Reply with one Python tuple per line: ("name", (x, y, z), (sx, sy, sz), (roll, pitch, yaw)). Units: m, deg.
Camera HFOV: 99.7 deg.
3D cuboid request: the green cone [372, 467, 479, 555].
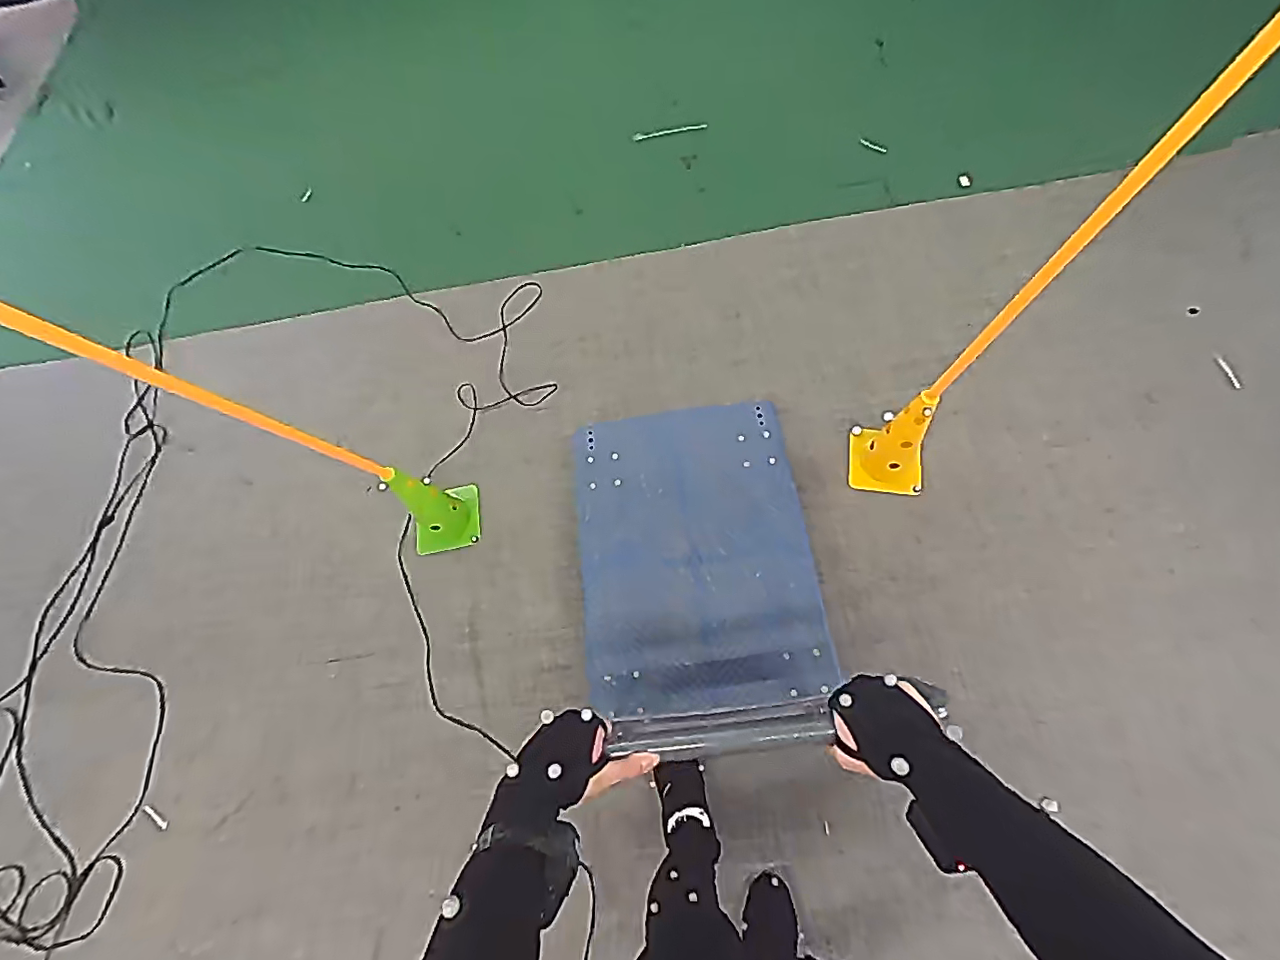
("green cone", (-0.619, 0.051, 1.504), (0.202, 0.368, 0.200), (-13, 65, 3))
